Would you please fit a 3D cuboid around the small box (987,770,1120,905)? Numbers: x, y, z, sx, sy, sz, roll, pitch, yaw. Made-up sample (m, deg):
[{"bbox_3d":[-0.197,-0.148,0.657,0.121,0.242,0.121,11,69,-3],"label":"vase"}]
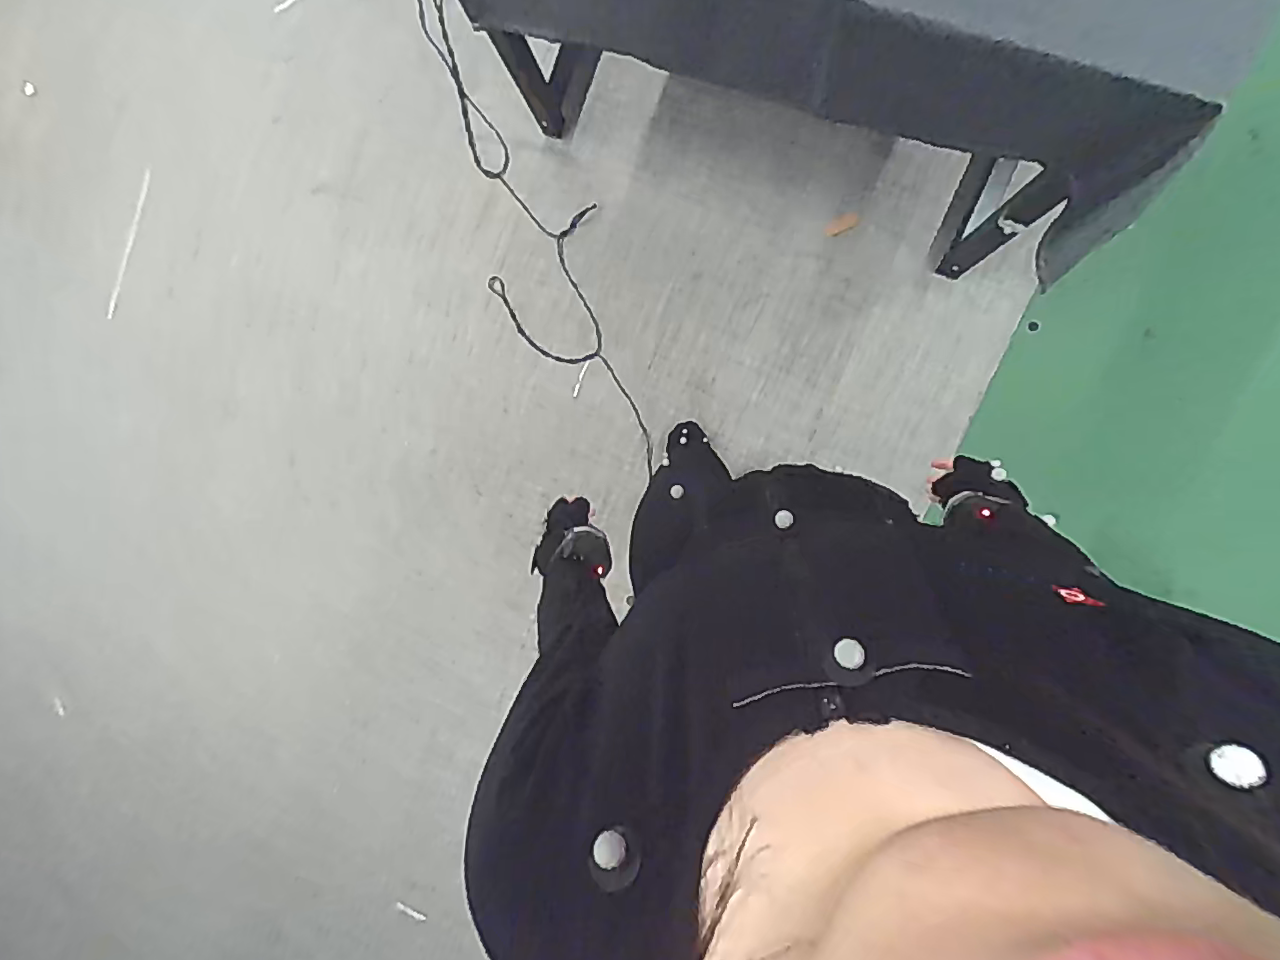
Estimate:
[{"bbox_3d":[0.992,0.861,1.320,0.168,0.176,0.179,27,96,6],"label":"small box"}]
